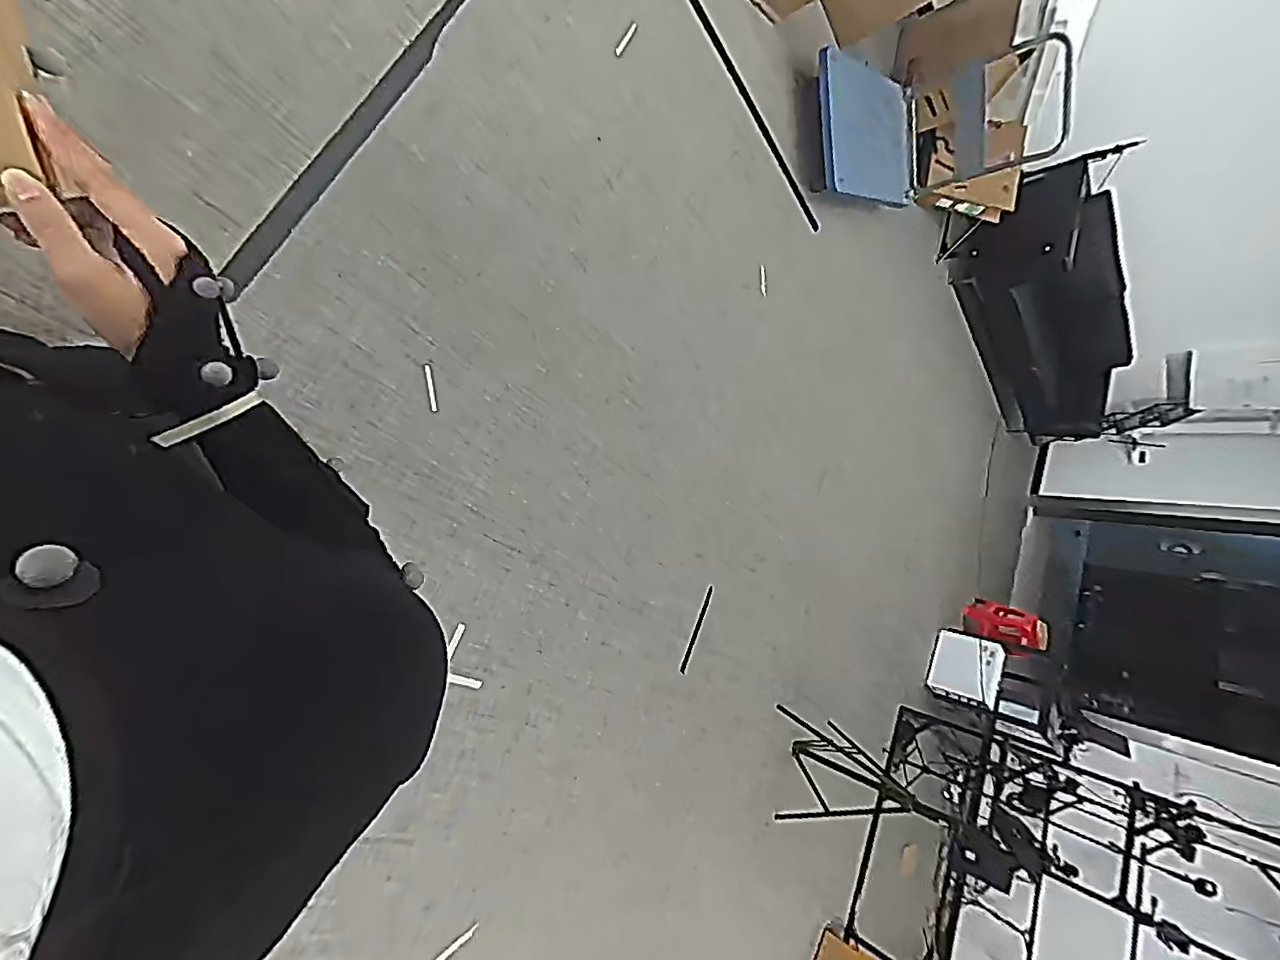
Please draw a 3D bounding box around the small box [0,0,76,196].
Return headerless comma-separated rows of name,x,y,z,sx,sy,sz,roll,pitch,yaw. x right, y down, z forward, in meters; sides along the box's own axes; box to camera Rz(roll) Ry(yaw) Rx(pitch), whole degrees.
small box,-0.412,-0.236,0.250,0.179,0.176,0.168,-16,126,-37
